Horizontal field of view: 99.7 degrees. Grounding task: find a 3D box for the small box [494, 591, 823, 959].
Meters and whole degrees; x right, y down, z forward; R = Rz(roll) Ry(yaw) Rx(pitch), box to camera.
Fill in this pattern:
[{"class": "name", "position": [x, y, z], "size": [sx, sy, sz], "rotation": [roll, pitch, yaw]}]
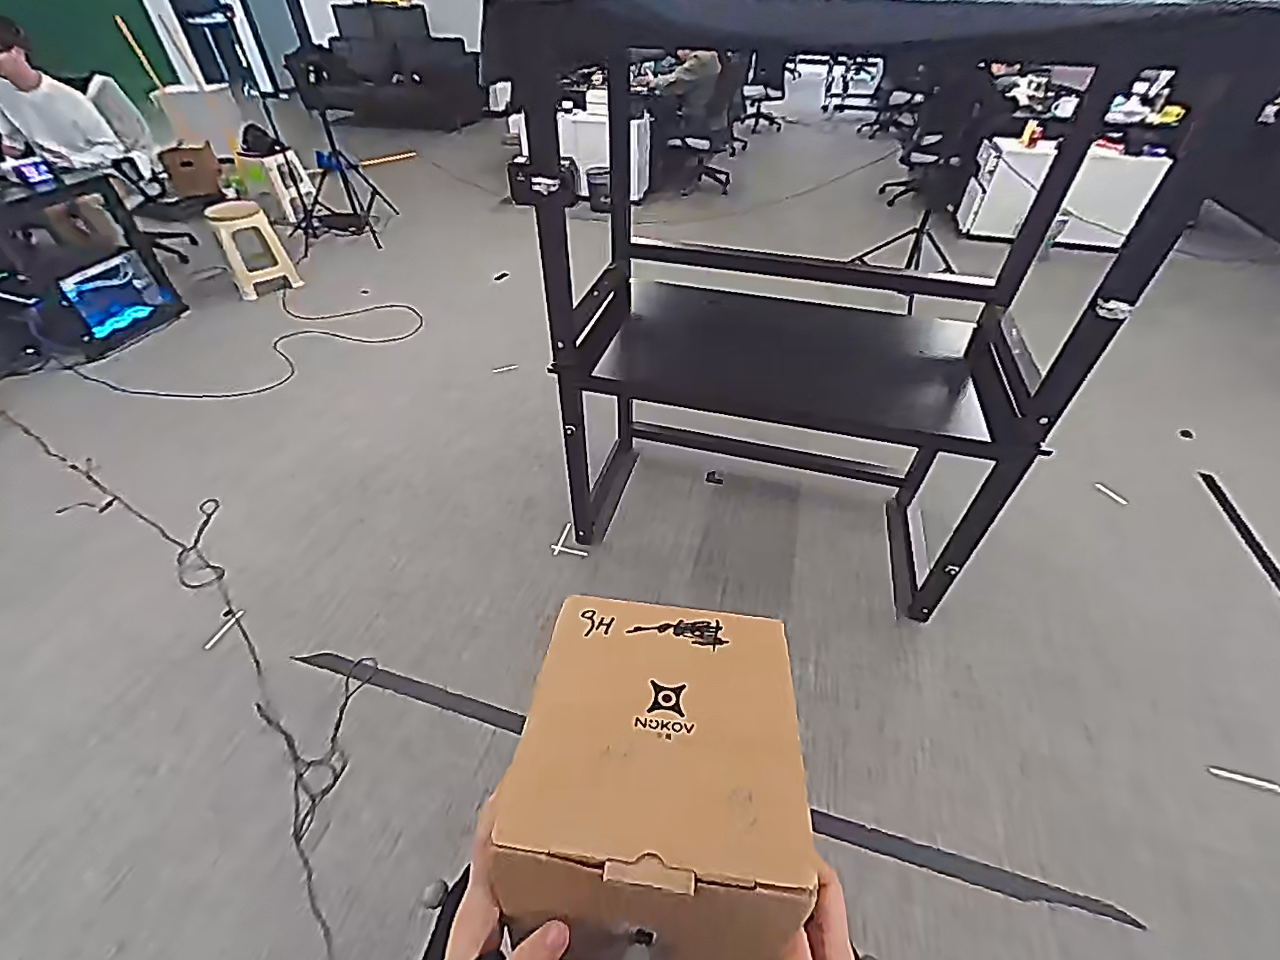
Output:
[{"class": "small box", "position": [0.015, 0.206, 0.375], "size": [0.168, 0.176, 0.179], "rotation": [7, 35, 4]}]
